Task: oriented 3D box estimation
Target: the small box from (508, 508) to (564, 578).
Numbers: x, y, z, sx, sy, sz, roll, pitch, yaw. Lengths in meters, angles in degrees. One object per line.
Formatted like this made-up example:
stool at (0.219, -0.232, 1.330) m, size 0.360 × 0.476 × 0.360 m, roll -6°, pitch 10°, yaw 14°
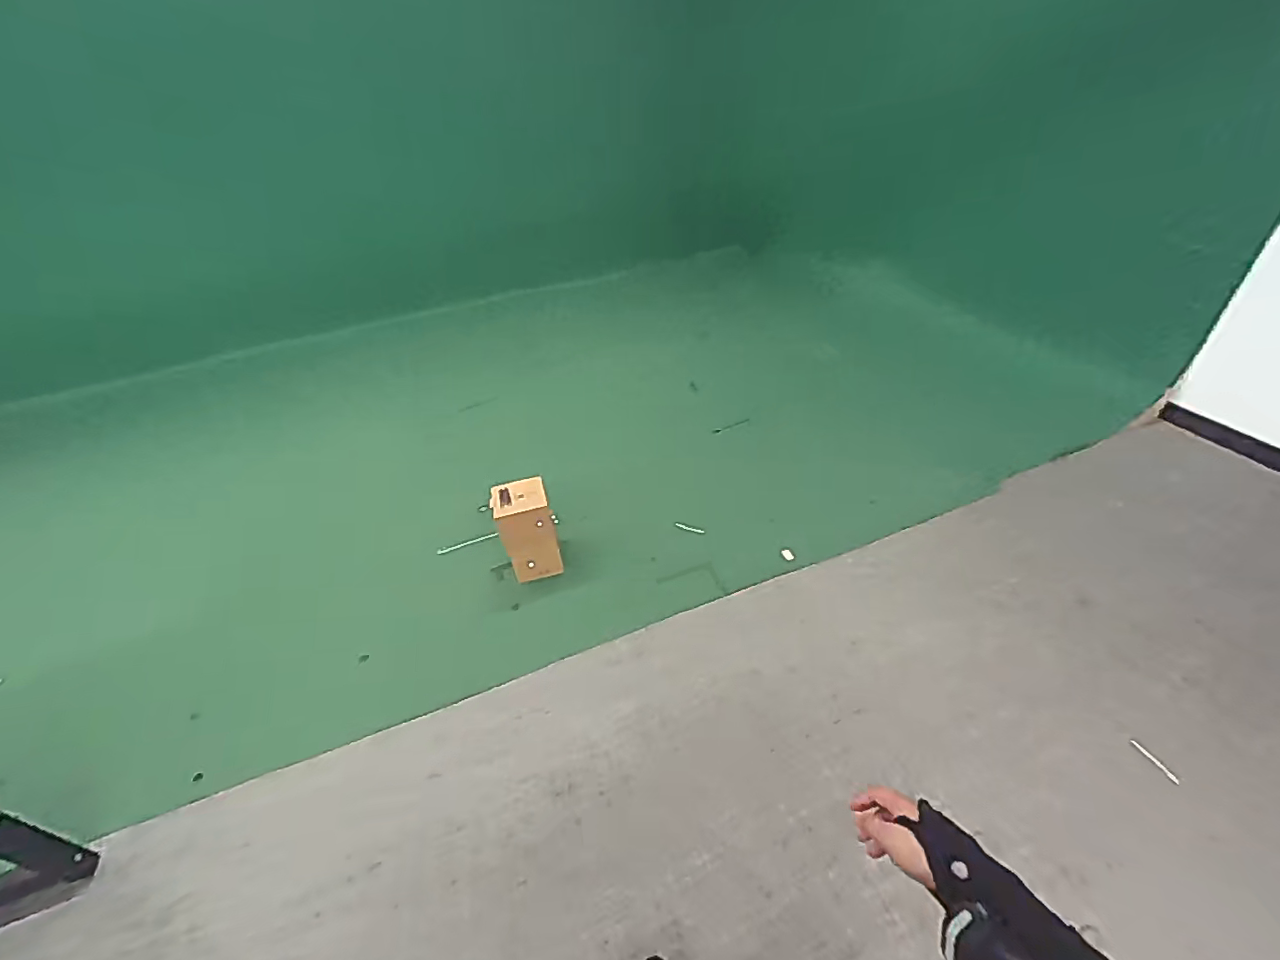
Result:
small box at (-0.374, 0.234, 1.948) m, size 0.168 × 0.176 × 0.179 m, roll -12°, pitch 40°, yaw -8°
